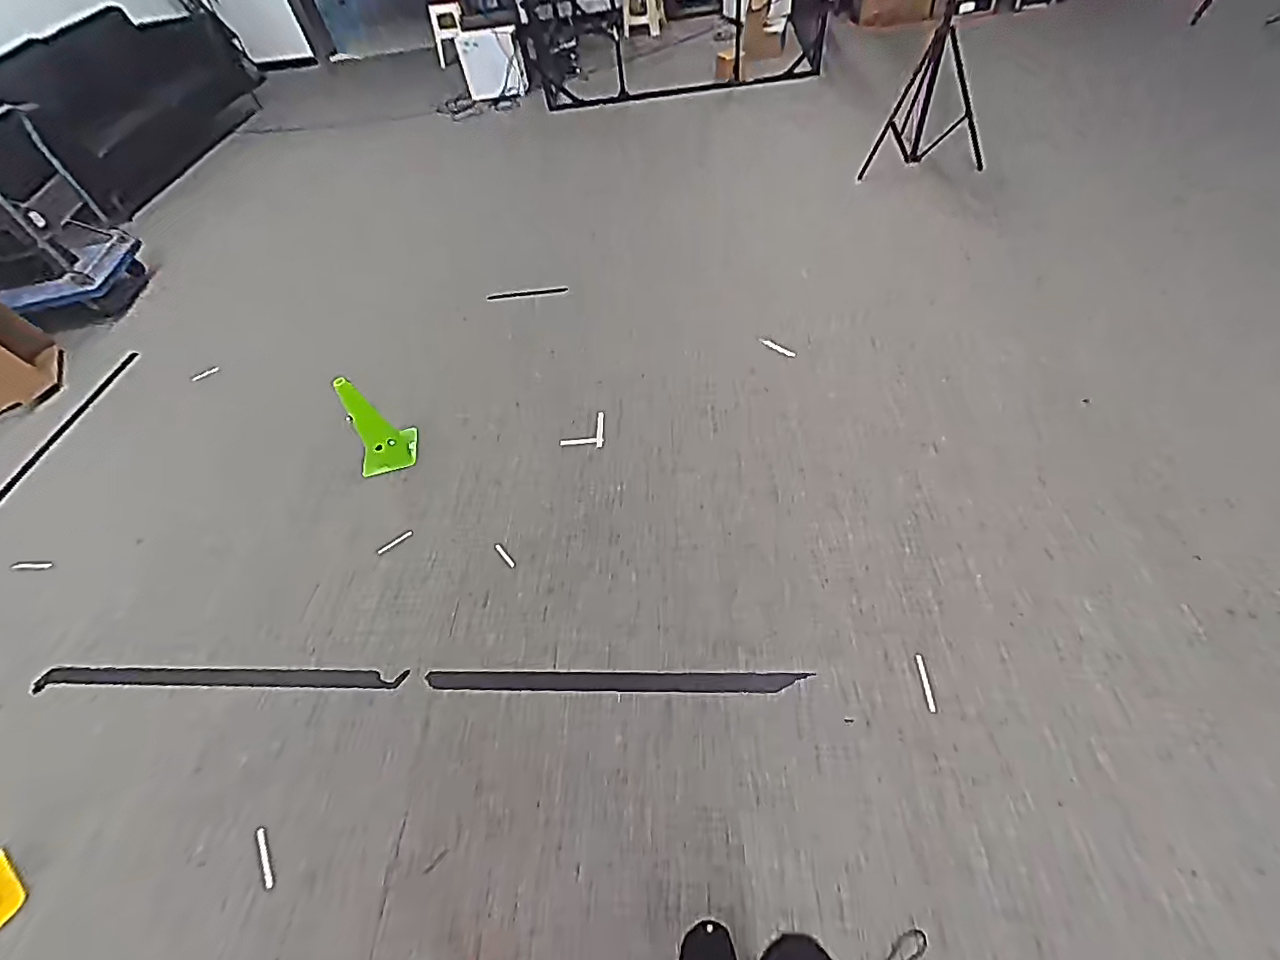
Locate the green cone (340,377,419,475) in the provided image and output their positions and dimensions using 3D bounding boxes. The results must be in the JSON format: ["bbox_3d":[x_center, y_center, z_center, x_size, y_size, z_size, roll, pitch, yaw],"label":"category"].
[{"bbox_3d":[-0.957,-0.213,1.918,0.202,0.368,0.200,-14,52,-4],"label":"green cone"}]
